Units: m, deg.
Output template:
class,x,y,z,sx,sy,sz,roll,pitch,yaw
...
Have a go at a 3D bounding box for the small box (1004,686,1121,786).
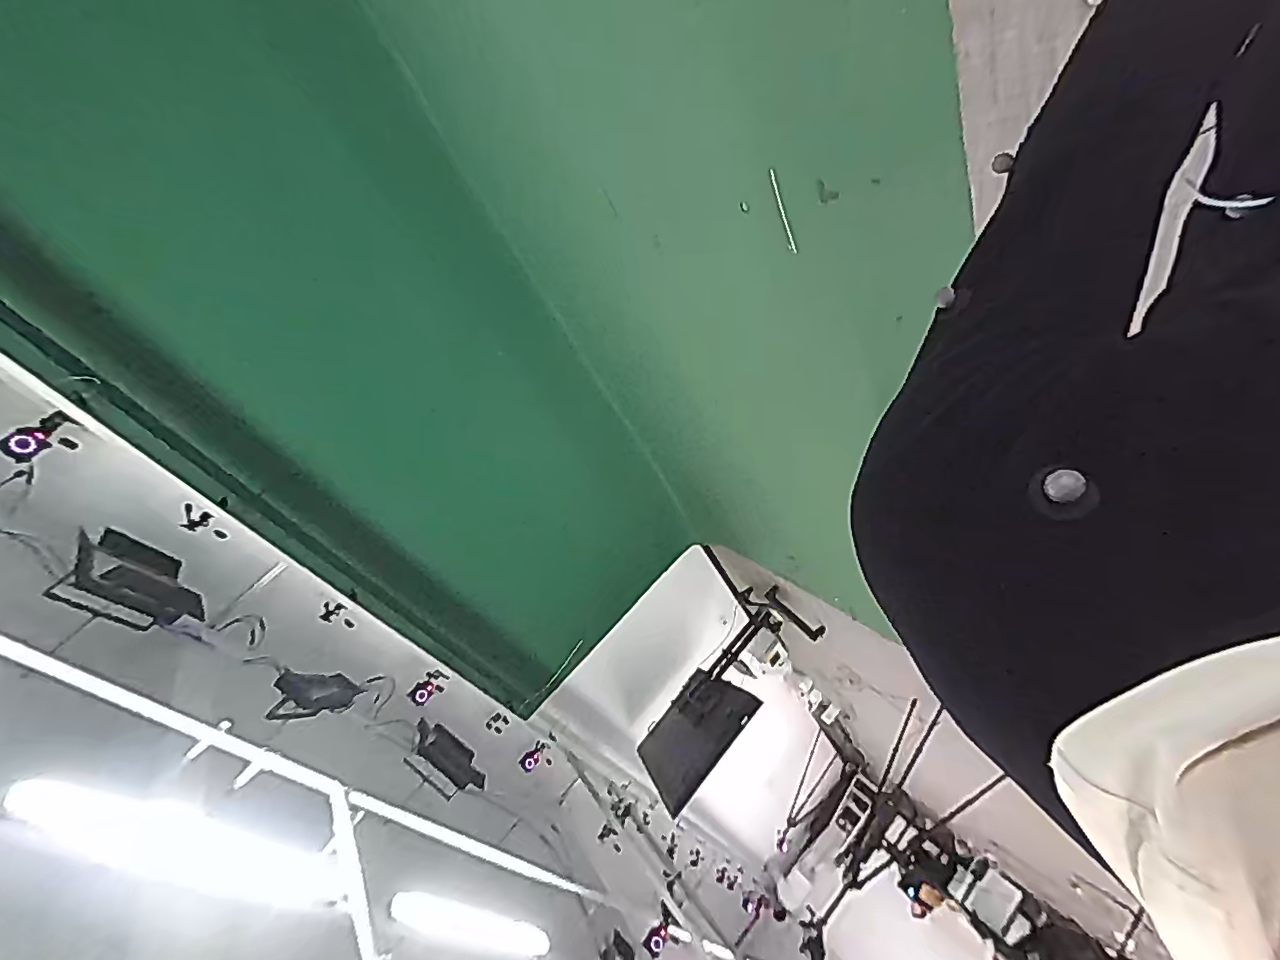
class,x,y,z,sx,sy,sz,roll,pitch,yaw
small box,1.206,0.719,1.545,0.179,0.176,0.168,45,165,-1
